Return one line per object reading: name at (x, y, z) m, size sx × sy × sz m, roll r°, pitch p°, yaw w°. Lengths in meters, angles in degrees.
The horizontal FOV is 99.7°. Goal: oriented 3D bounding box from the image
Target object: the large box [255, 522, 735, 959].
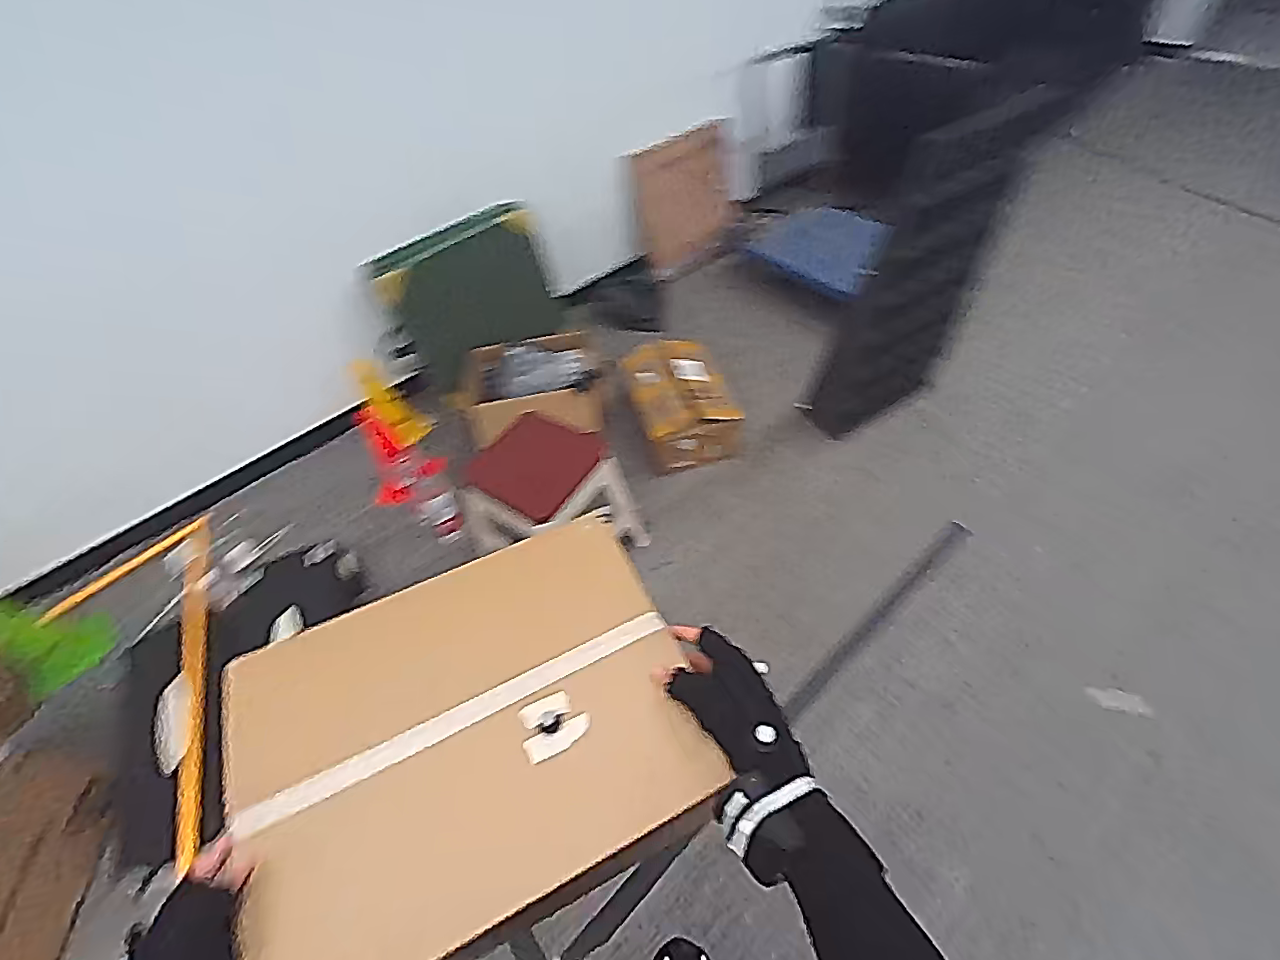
large box at (-0.151, 0.320, 0.636) m, size 0.408 × 0.320 × 0.320 m, roll -21°, pitch 54°, yaw -15°
